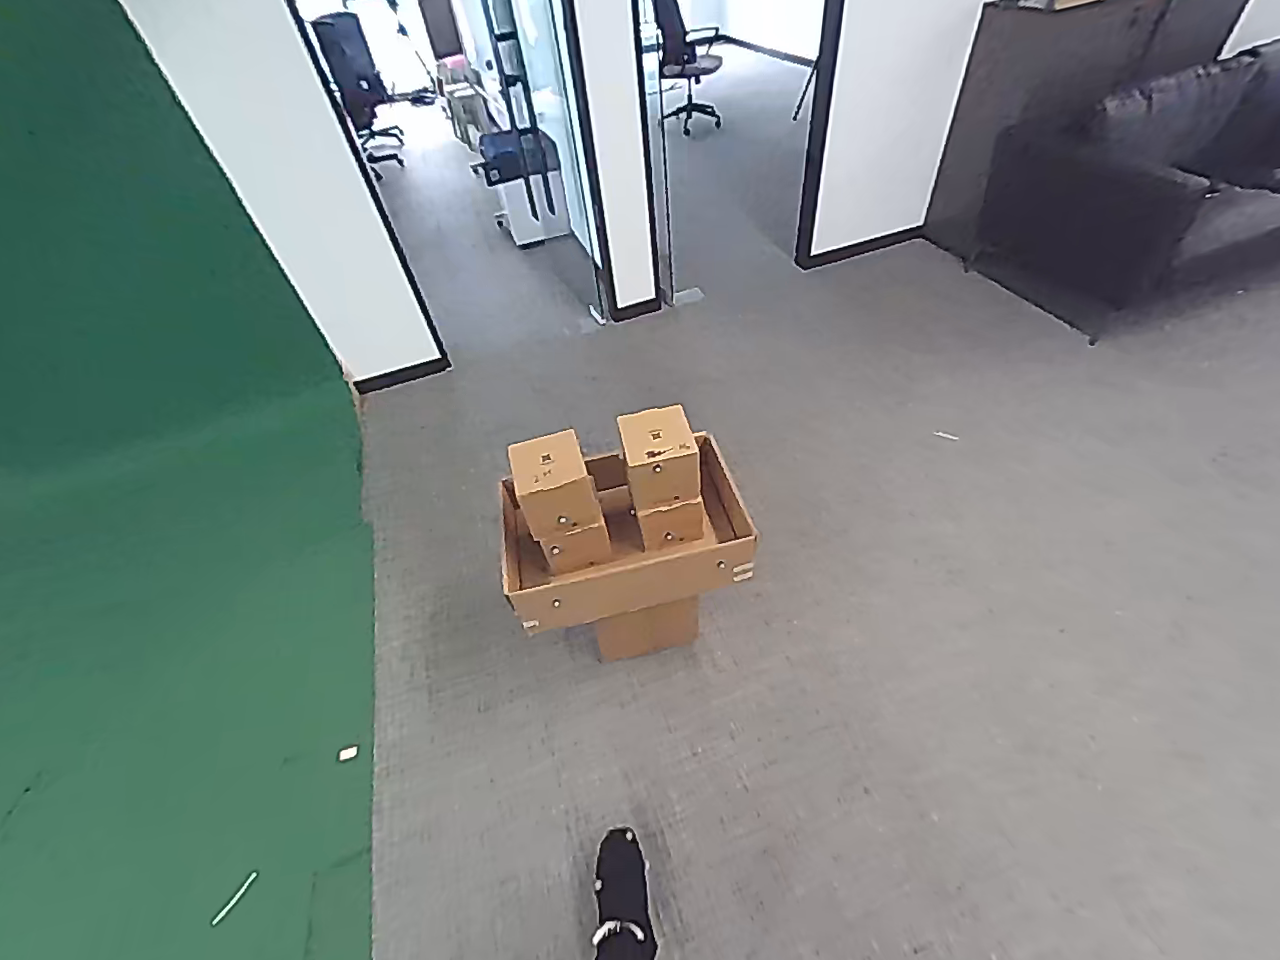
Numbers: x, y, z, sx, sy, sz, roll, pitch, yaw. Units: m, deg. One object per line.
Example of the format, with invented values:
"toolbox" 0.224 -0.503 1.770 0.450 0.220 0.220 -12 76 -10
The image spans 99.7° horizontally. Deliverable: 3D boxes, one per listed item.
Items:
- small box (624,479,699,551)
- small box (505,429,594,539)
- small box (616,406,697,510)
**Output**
"small box" 0.055 0.062 1.443 0.168 0.176 0.179 -13 50 -5
"small box" -0.215 0.011 1.295 0.168 0.176 0.179 -15 49 -7
"small box" 0.039 -0.052 1.326 0.168 0.176 0.179 -11 49 -4
